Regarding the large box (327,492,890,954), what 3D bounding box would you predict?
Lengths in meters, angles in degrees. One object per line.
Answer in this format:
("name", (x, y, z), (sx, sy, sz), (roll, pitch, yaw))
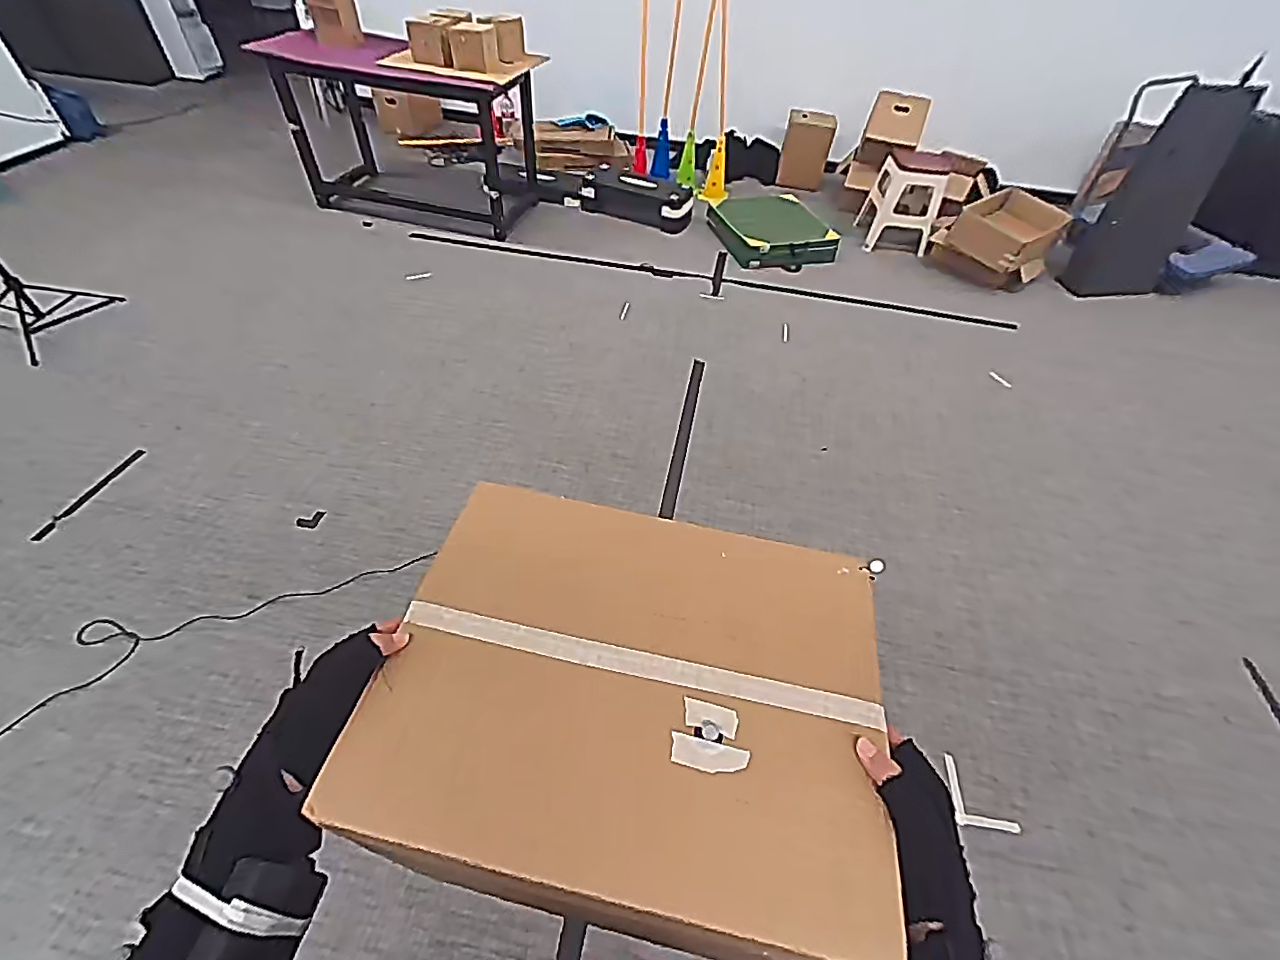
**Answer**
("large box", (-0.013, 0.256, 0.575), (0.408, 0.320, 0.320), (12, 49, 5))
